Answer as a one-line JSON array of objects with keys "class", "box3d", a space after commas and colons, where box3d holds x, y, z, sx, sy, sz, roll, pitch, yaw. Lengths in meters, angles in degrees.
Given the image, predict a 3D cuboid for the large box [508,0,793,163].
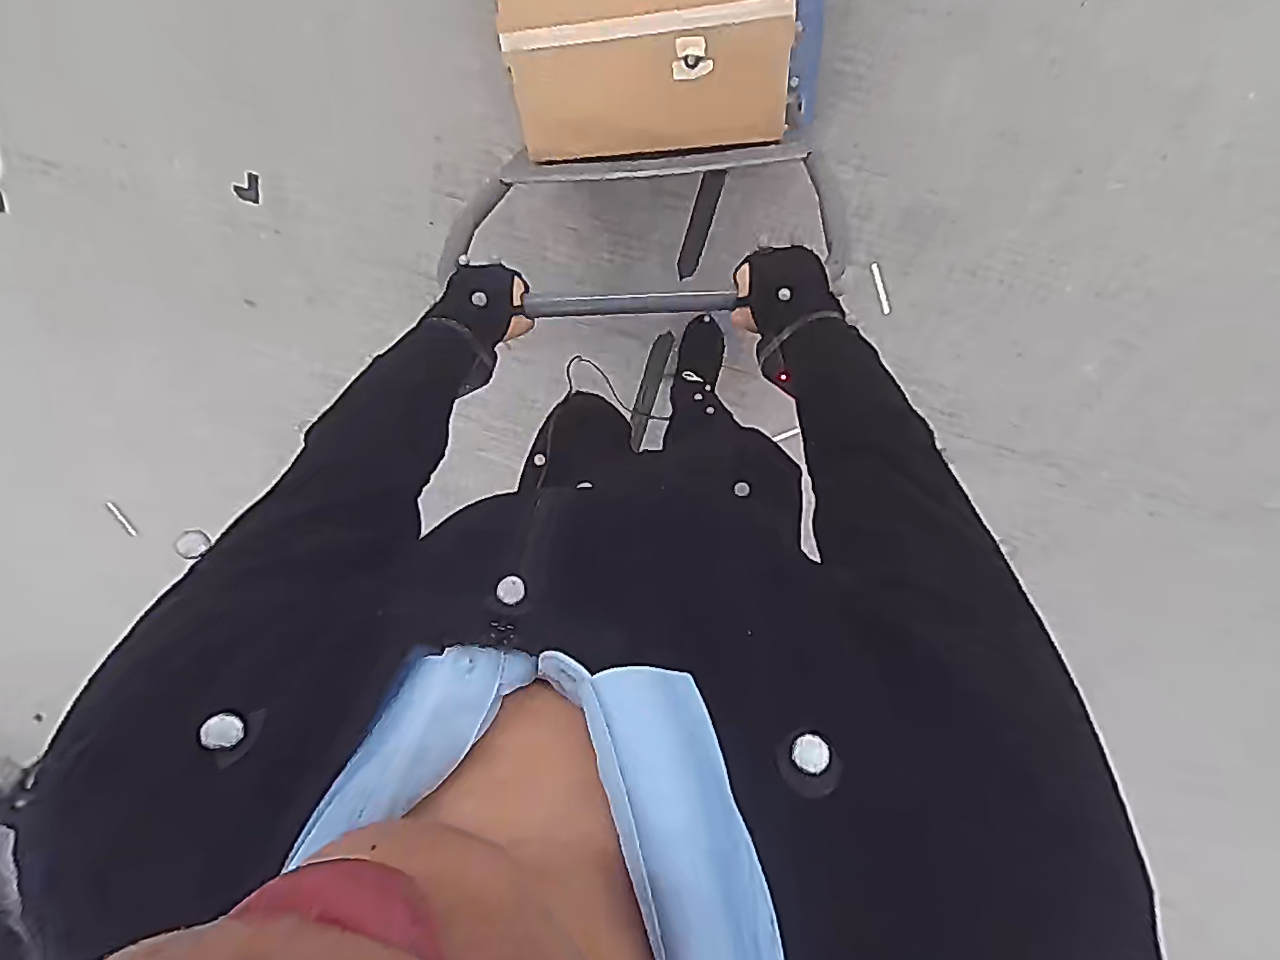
[{"class": "large box", "box3d": [0.026, -0.741, 0.880, 0.408, 0.320, 0.320, -1, 131, 8]}]
